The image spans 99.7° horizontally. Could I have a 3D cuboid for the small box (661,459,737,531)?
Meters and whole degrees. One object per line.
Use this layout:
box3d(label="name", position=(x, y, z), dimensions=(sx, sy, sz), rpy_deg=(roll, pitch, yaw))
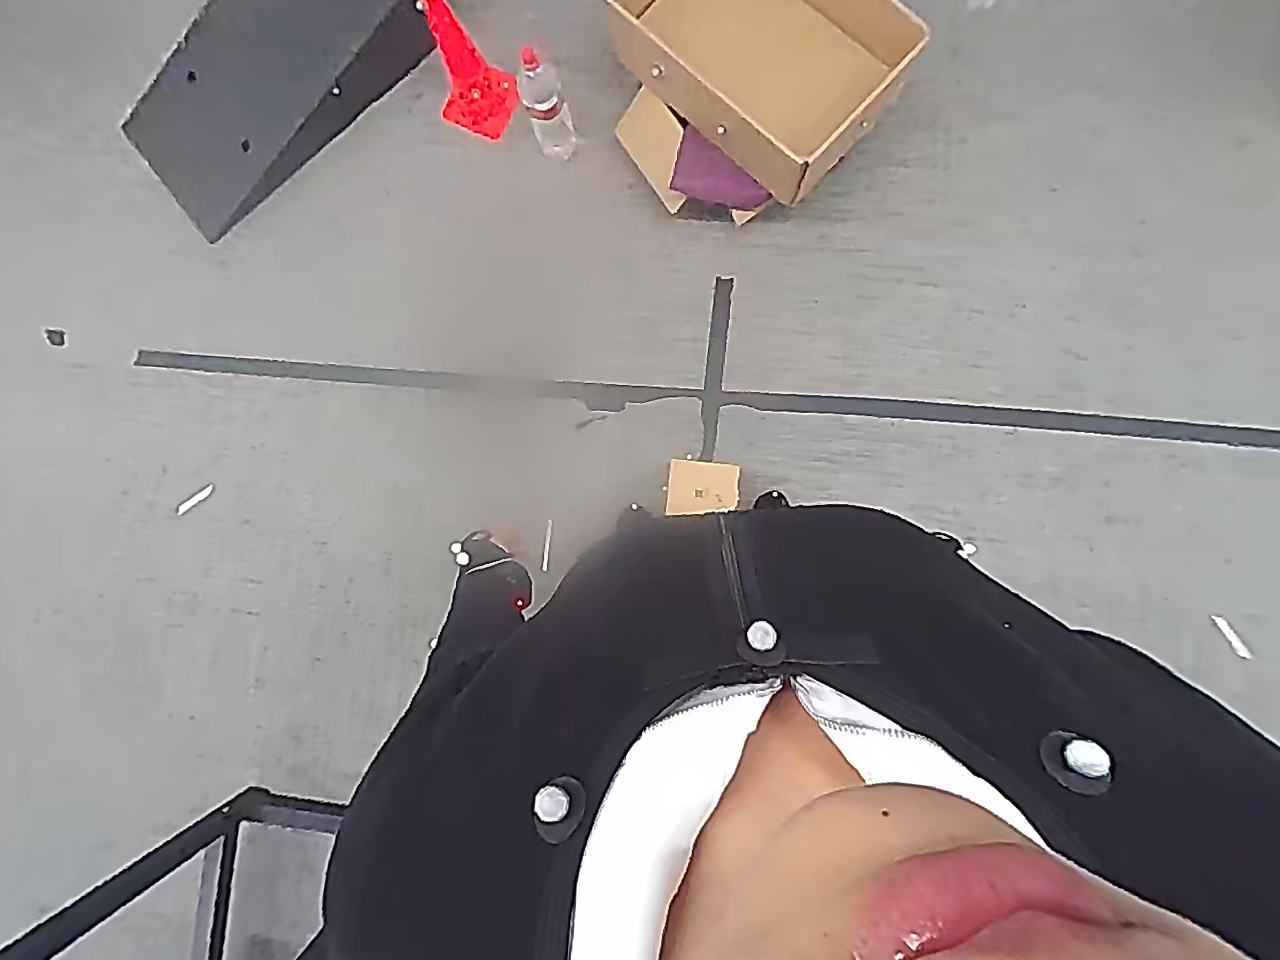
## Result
box3d(label="small box", position=(0.152, 0.040, 1.431), dimensions=(0.179, 0.176, 0.168), rpy_deg=(6, 89, 3))
